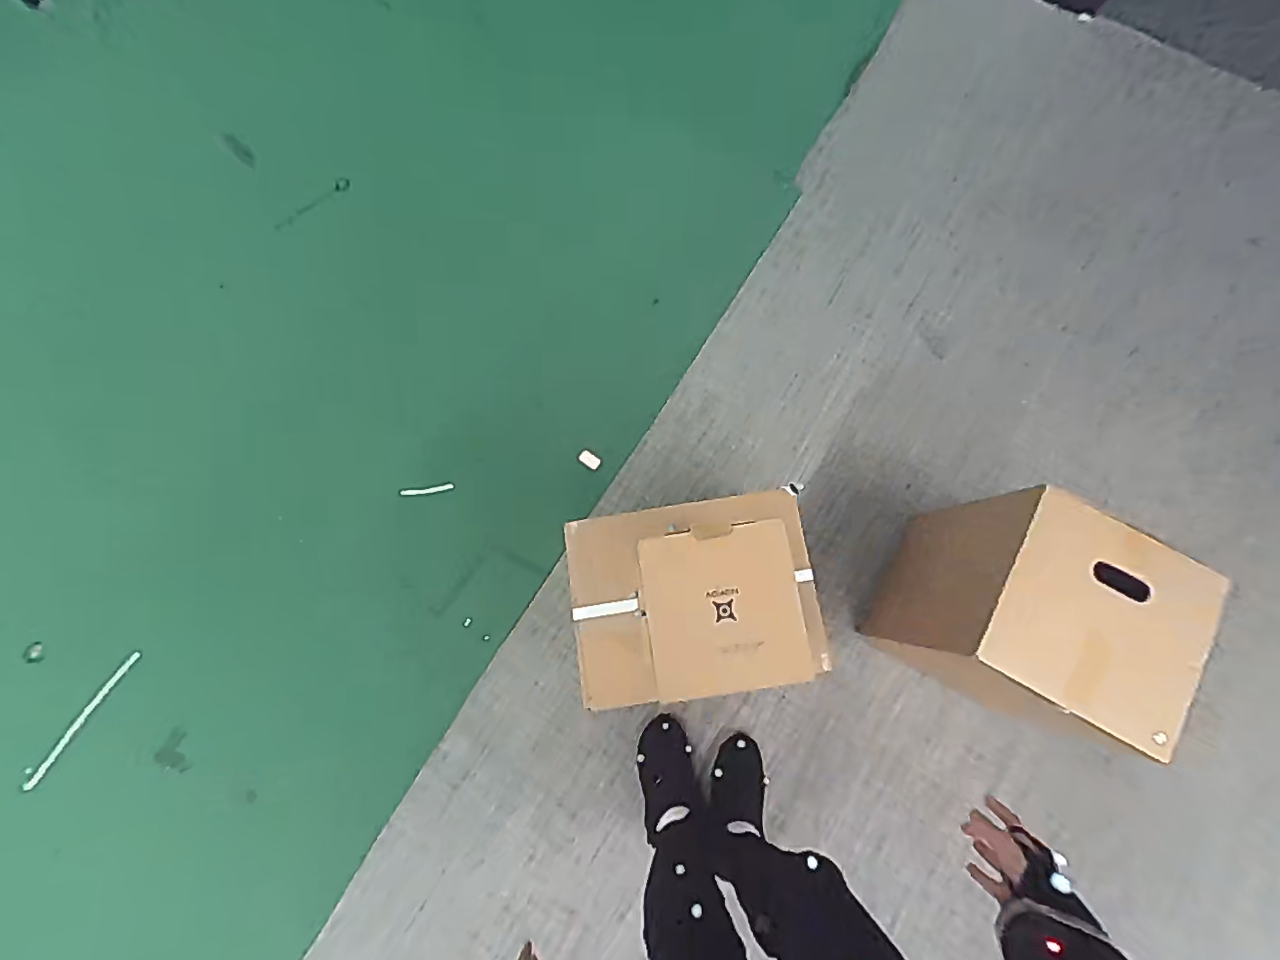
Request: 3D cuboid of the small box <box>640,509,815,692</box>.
[{"bbox_3d":[0.091,0.142,0.654,0.168,0.176,0.179,-8,78,-1],"label":"small box"}]
